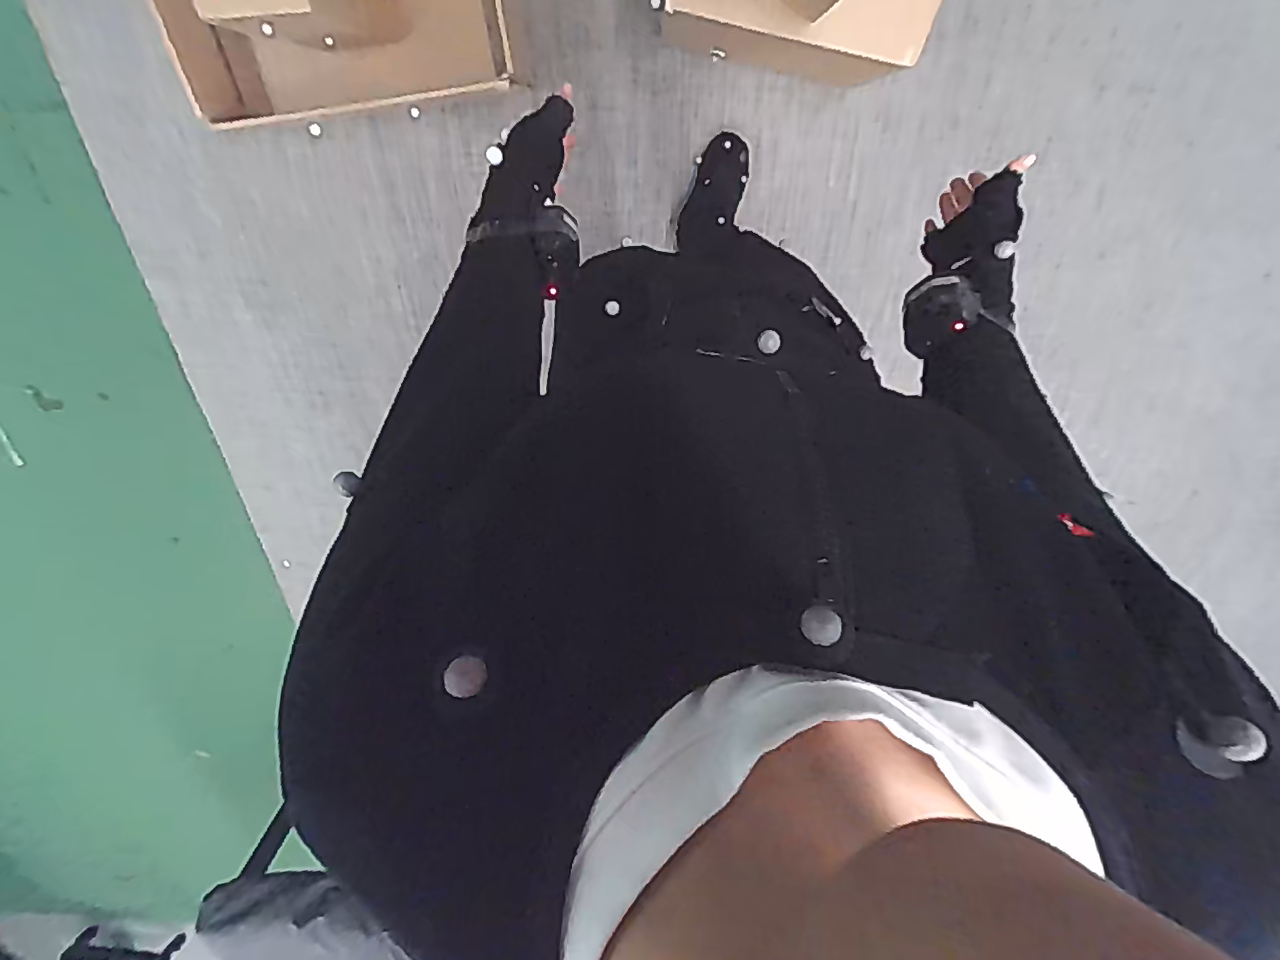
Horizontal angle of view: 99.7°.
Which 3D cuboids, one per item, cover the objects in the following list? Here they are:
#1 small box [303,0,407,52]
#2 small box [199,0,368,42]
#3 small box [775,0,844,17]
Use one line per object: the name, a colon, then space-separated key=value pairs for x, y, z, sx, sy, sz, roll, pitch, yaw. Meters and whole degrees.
small box: x=-0.550 y=-0.885 z=0.961 sx=0.179 sy=0.176 sz=0.168 roll=-4 pitch=121 yaw=4
small box: x=-0.556 y=-0.790 z=0.825 sx=0.179 sy=0.176 sz=0.168 roll=-1 pitch=121 yaw=3
small box: x=0.219 y=-0.738 z=0.690 sx=0.179 sy=0.176 sz=0.168 roll=25 pitch=119 yaw=-12
